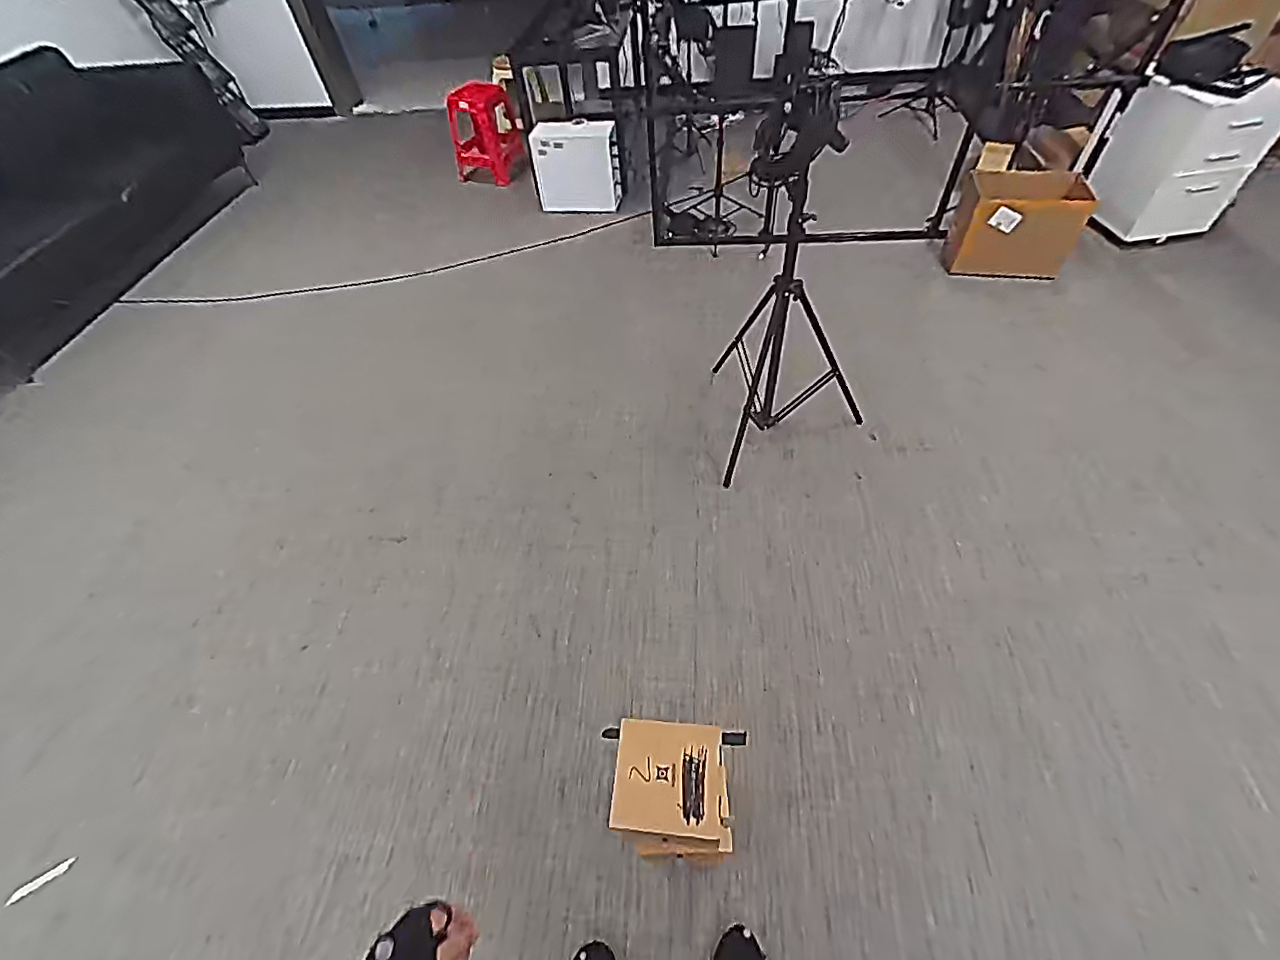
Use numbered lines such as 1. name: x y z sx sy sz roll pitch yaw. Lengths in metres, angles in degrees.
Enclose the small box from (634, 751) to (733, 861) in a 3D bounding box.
1. small box: 0.082 0.642 1.063 0.179 0.176 0.168 -4 51 3
